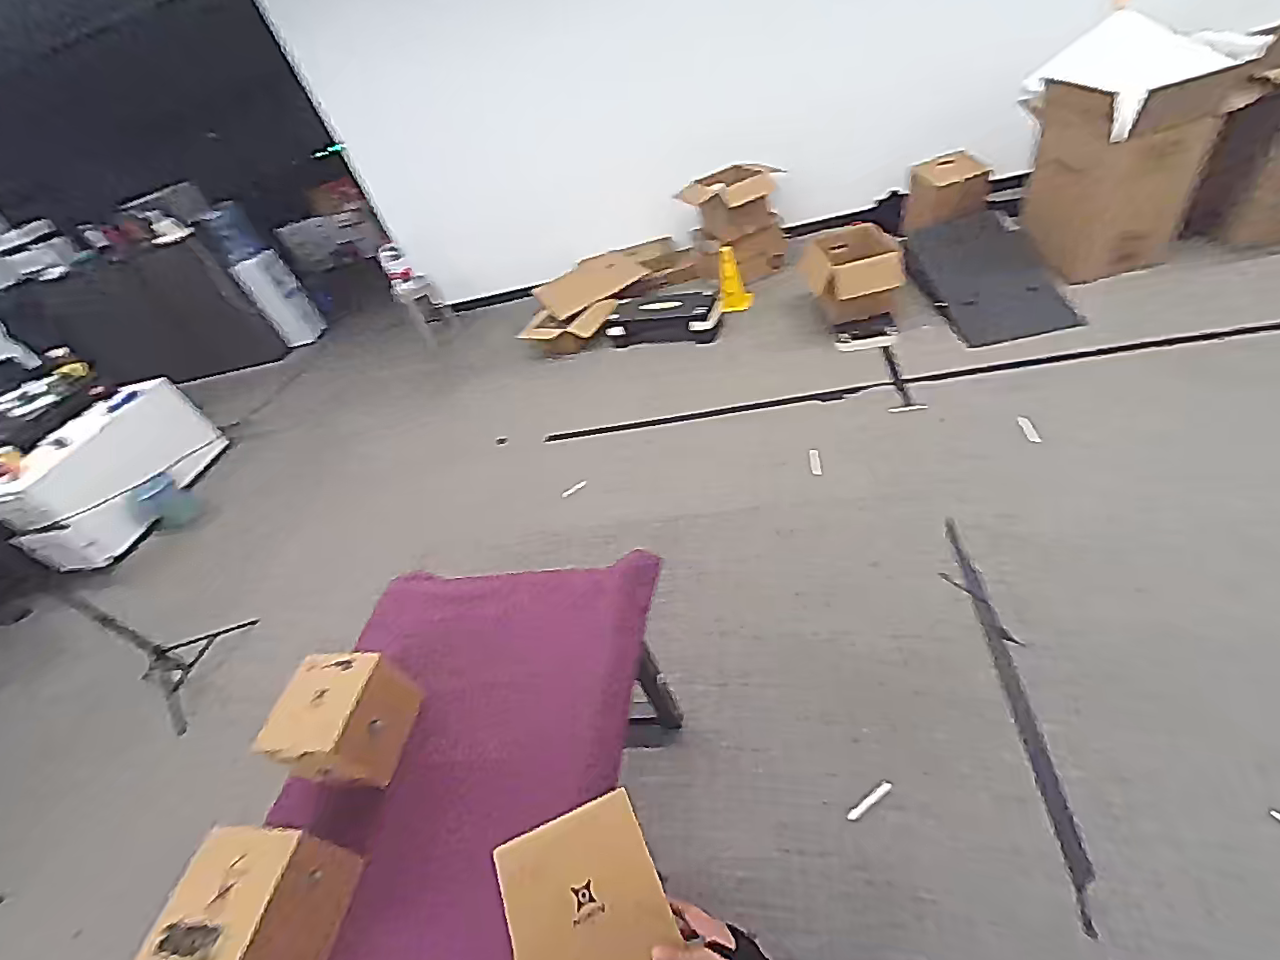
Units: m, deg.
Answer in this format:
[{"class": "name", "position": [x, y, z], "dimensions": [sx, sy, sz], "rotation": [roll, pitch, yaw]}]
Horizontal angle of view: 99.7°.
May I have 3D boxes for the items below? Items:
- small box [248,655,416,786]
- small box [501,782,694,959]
[{"class": "small box", "position": [-0.541, 0.437, 0.982], "dimensions": [0.168, 0.176, 0.179], "rotation": [-5, 45, 14]}, {"class": "small box", "position": [-0.051, 0.500, 0.635], "dimensions": [0.168, 0.176, 0.179], "rotation": [-18, 47, -15]}]
